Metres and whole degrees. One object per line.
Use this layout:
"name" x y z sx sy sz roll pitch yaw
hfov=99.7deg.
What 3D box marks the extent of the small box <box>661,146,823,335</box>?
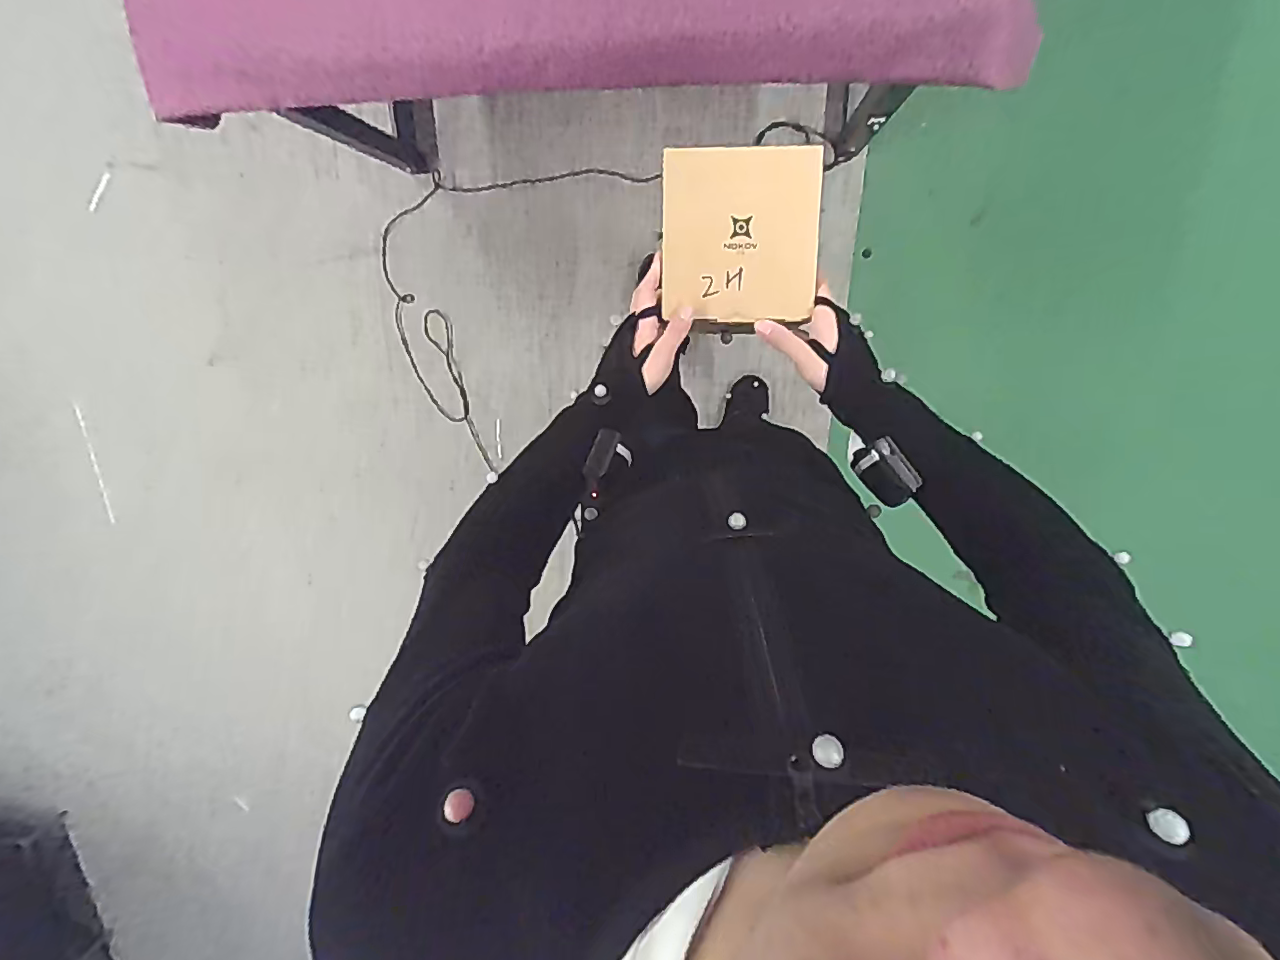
"small box" 0.110 -0.273 0.651 0.168 0.176 0.179 1 101 4
